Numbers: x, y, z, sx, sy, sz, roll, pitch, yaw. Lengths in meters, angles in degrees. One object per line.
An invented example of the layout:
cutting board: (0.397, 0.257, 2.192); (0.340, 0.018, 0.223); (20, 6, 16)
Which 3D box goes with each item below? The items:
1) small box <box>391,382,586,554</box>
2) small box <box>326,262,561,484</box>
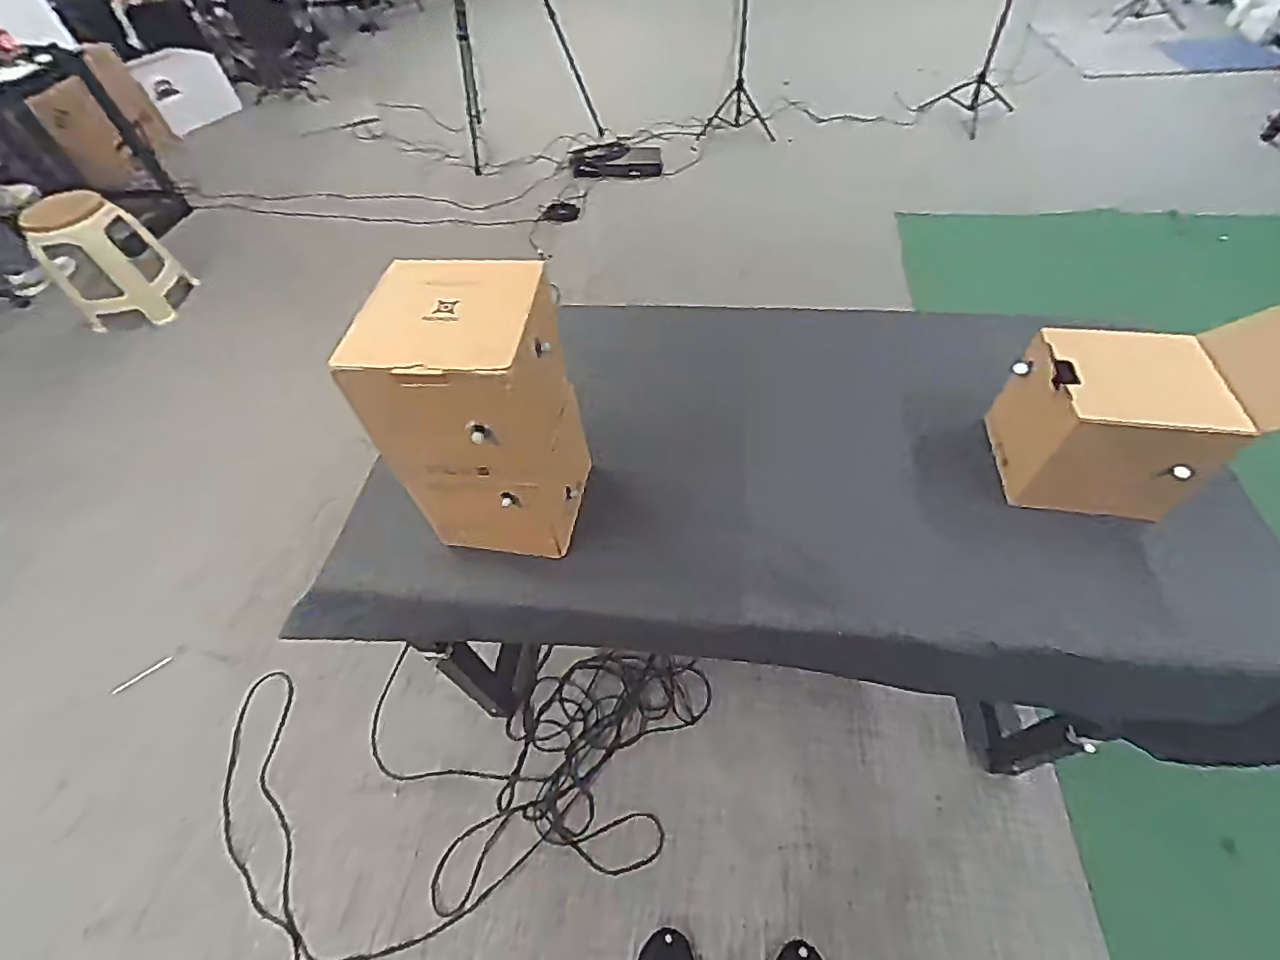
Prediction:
small box: (-0.181, -0.017, 0.712); (0.179, 0.176, 0.168); (5, 53, 8)
small box: (-0.186, -0.111, 0.580); (0.168, 0.176, 0.179); (2, 51, 4)
